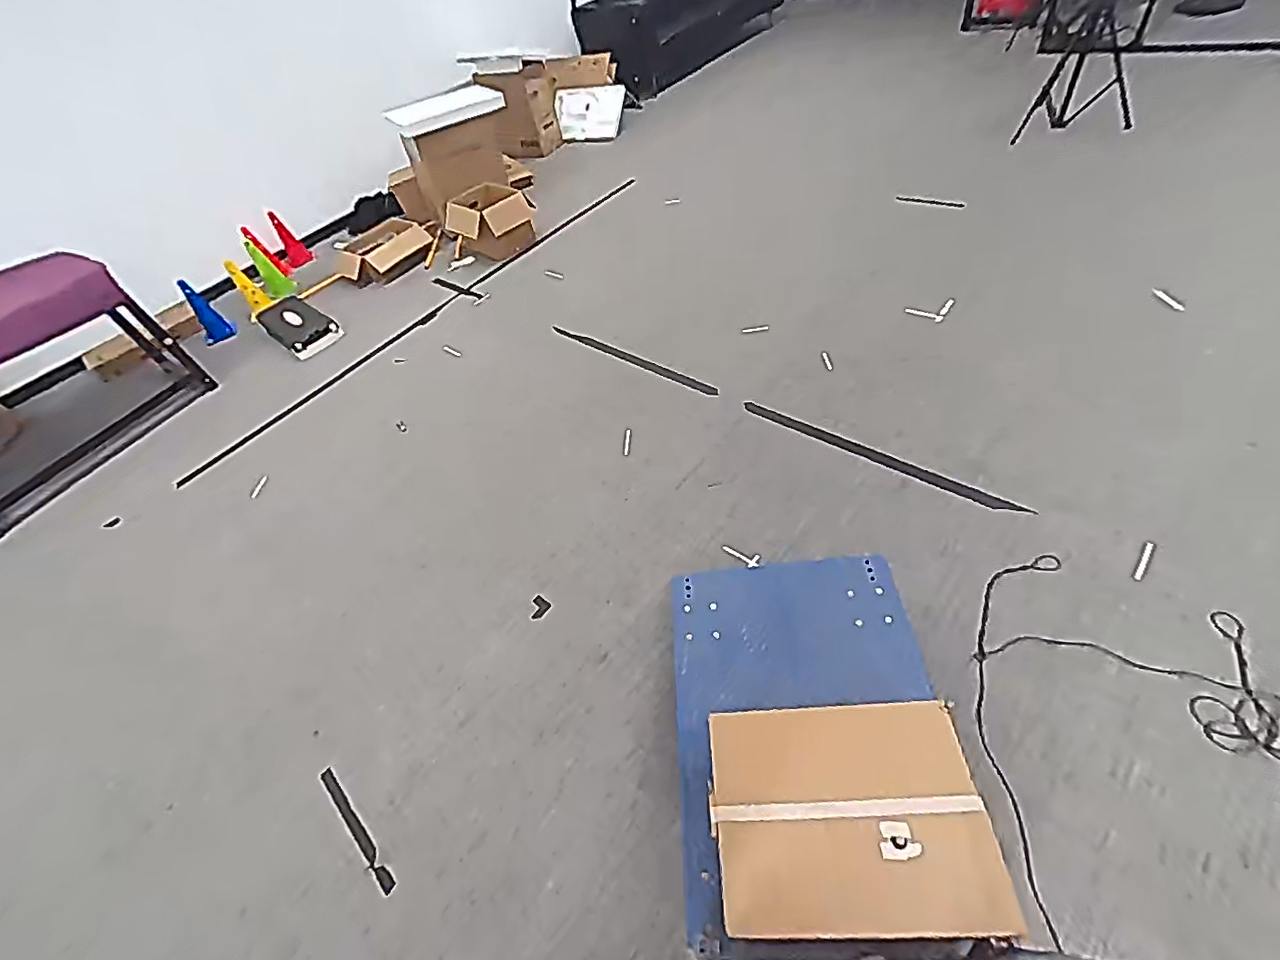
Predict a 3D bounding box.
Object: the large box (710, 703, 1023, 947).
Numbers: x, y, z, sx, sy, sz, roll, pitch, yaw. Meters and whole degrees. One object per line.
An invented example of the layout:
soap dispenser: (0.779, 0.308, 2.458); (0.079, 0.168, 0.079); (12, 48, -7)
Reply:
large box: (0.347, 0.620, 0.961); (0.408, 0.320, 0.320); (-7, 49, 7)
